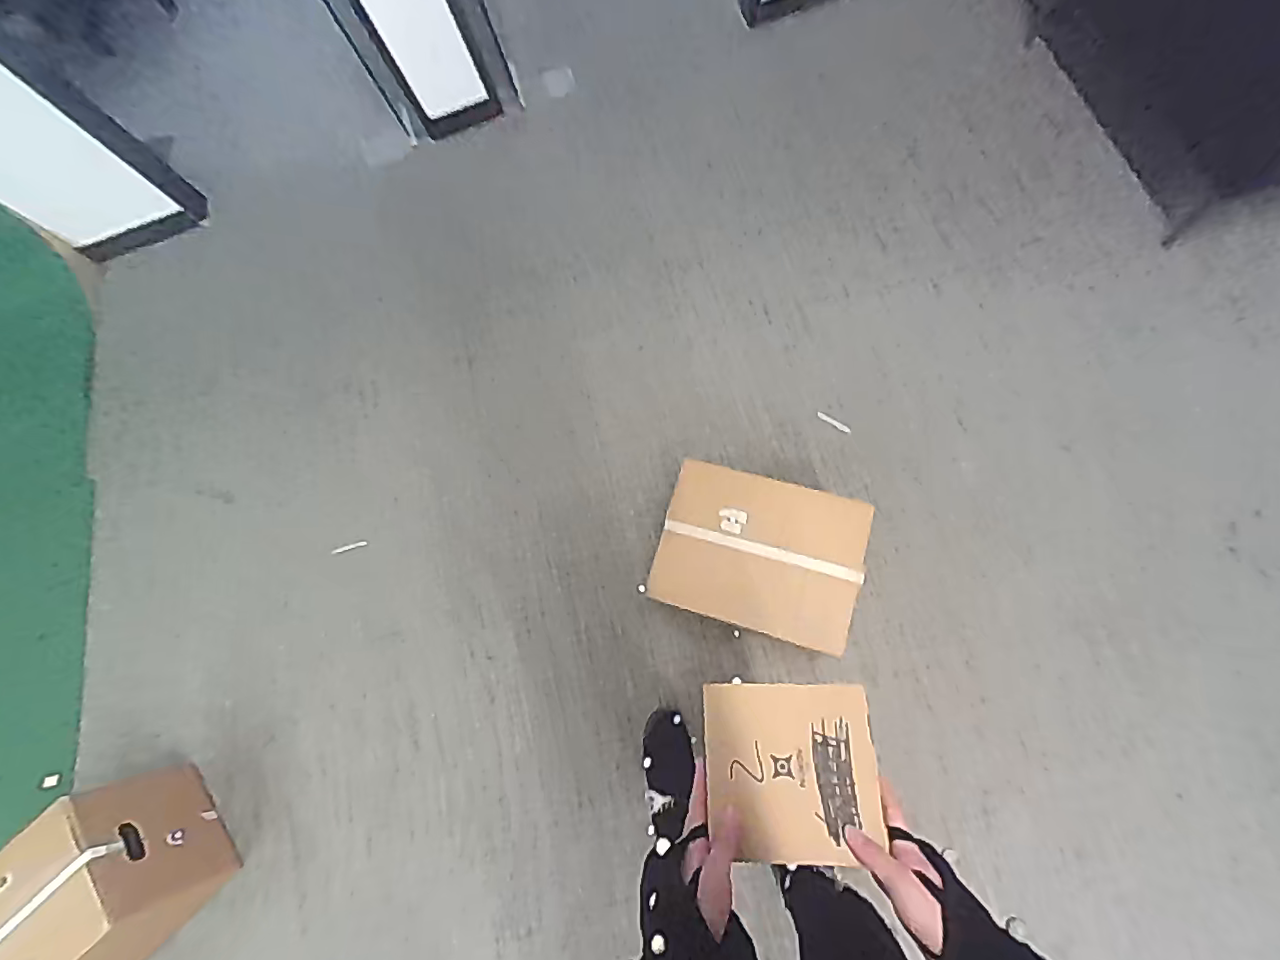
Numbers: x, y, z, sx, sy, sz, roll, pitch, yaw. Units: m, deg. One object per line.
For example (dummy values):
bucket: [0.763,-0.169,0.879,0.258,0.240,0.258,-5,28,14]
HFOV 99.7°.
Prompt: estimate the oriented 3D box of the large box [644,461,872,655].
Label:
large box: [0.263,0.184,1.233,0.408,0.320,0.320,15,76,14]
